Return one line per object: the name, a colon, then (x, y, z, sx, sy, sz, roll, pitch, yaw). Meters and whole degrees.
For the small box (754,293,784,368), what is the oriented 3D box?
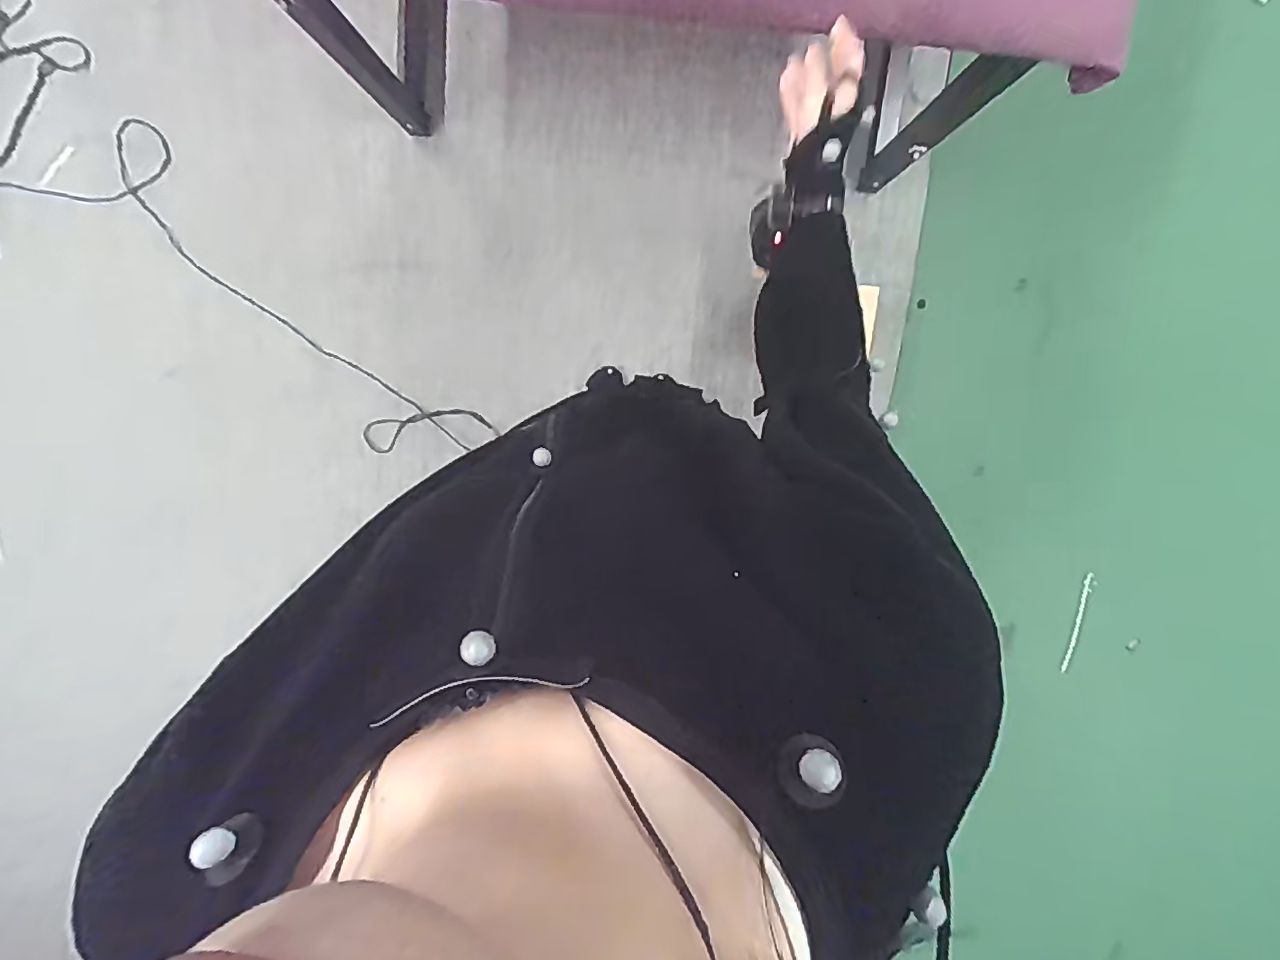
small box: (0.395, -0.363, 1.360, 0.179, 0.176, 0.168, 7, 101, -1)
